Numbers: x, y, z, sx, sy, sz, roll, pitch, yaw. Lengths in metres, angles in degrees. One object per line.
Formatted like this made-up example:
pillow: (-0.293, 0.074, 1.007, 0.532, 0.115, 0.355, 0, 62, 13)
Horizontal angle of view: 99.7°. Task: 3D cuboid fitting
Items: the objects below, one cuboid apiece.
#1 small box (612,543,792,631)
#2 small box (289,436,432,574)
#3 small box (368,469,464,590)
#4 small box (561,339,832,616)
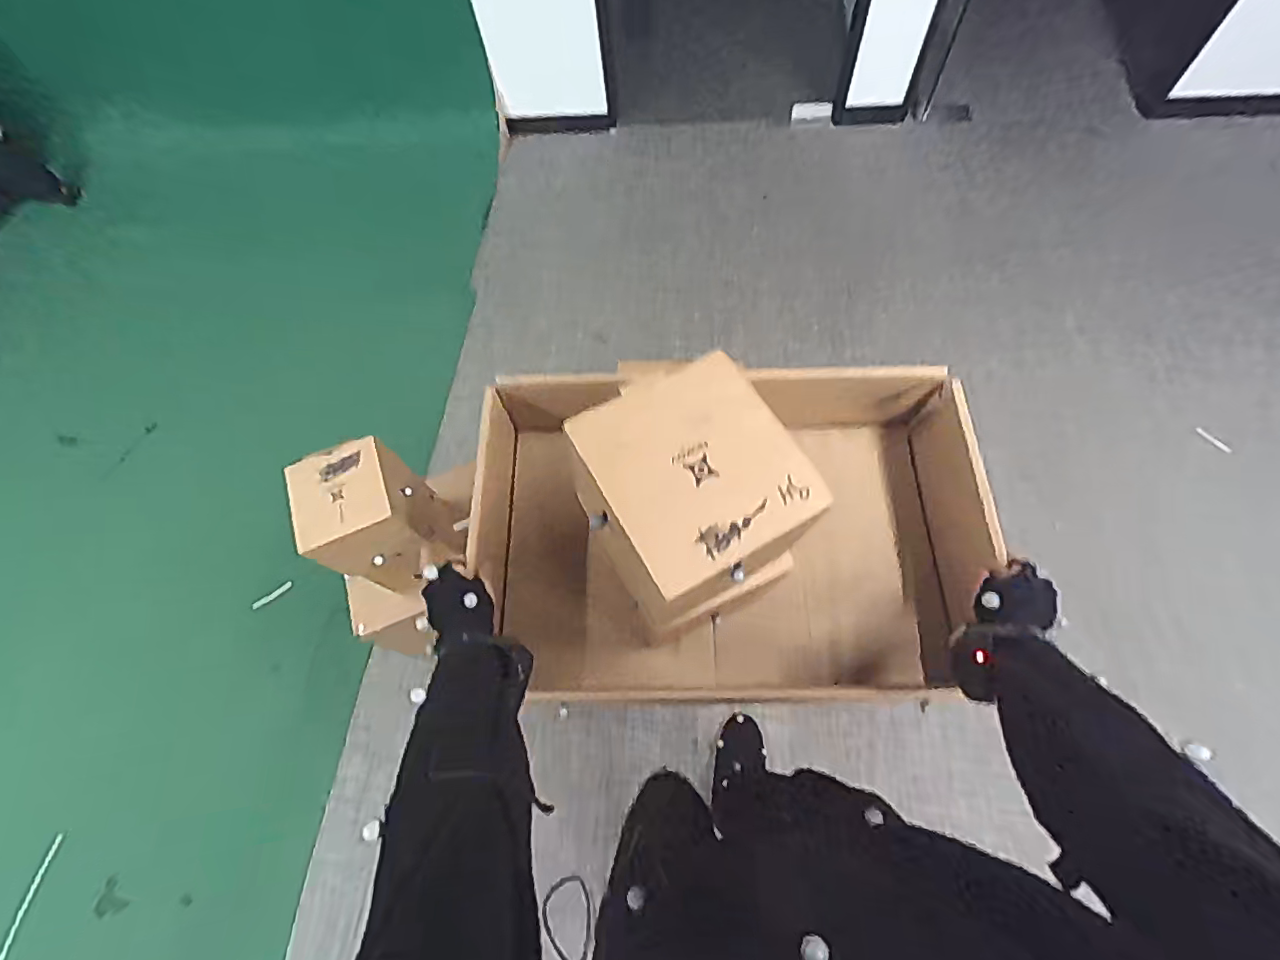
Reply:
small box: (0.055, 0.073, 0.666, 0.168, 0.176, 0.179, -23, 69, -11)
small box: (-0.514, 0.052, 1.008, 0.168, 0.176, 0.179, -23, 66, -5)
small box: (-0.505, 0.111, 1.161, 0.168, 0.176, 0.179, -27, 66, -7)
small box: (0.041, 0.007, 0.516, 0.168, 0.176, 0.179, -28, 70, -12)
